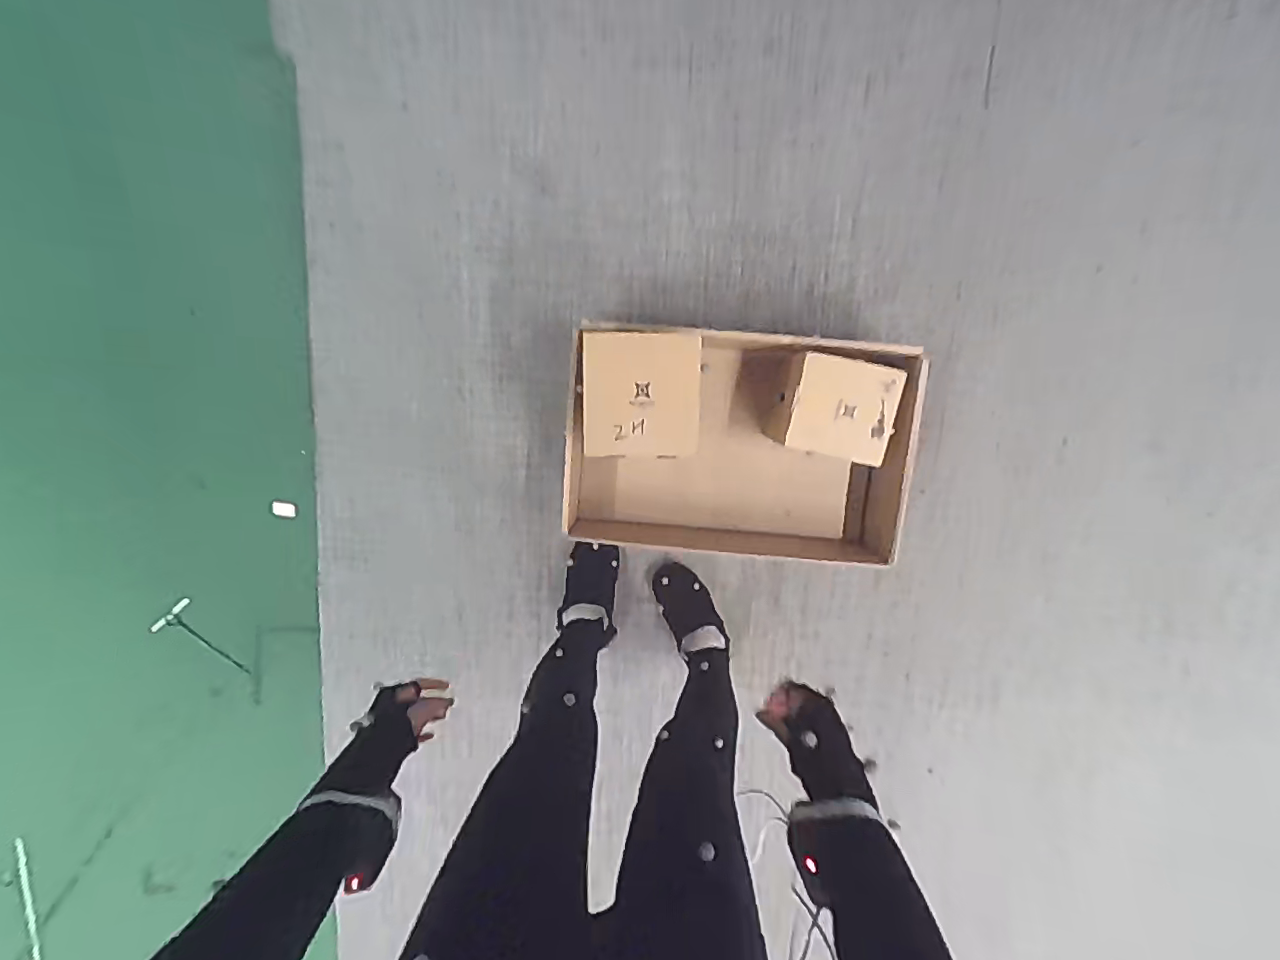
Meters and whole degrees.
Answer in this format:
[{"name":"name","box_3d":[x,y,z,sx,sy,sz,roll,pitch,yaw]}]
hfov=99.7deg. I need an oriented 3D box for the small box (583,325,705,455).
[{"name":"small box","box_3d":[0.007,-0.138,0.834,0.168,0.176,0.179,3,100,3]}]
